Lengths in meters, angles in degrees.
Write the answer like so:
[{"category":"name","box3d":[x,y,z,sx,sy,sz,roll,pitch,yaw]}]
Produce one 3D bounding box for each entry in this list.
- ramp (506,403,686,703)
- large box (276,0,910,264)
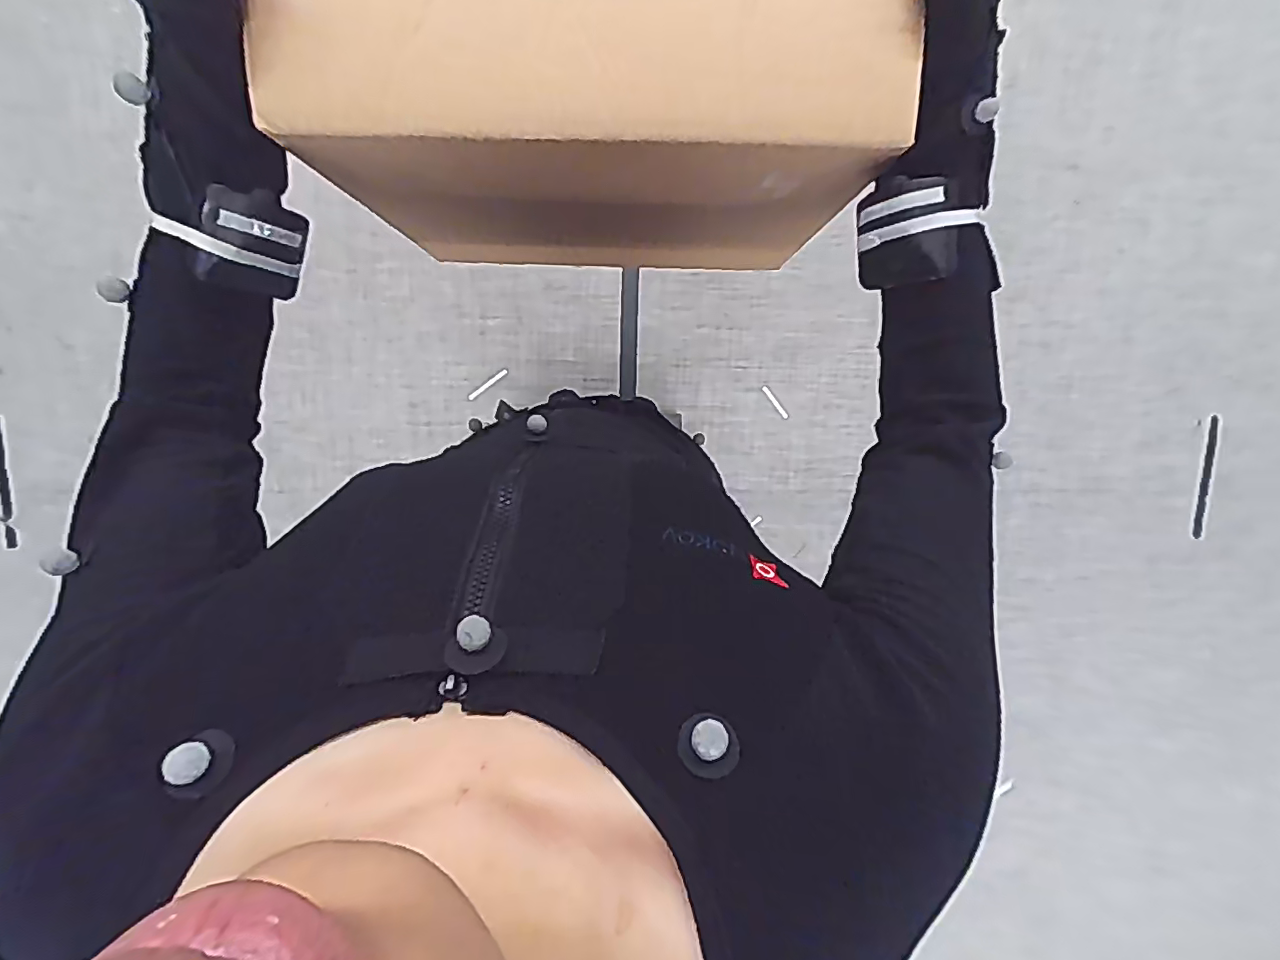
[{"category":"ramp","box3d":[-0.117,0.263,1.622,0.509,0.206,0.991,-2,100,-2]},{"category":"large box","box3d":[-0.030,-0.391,0.476,0.408,0.320,0.320,1,98,-1]}]
